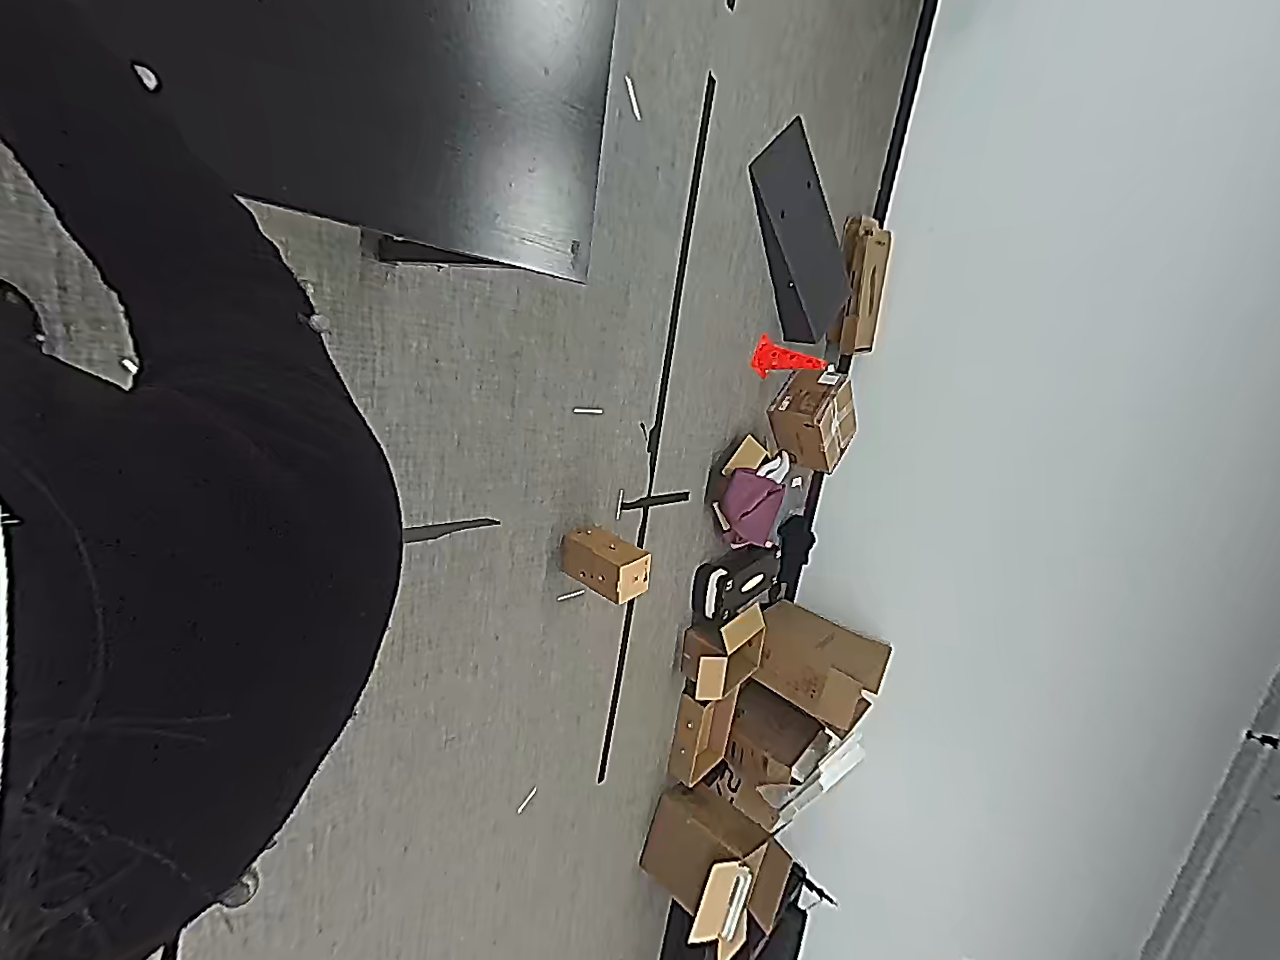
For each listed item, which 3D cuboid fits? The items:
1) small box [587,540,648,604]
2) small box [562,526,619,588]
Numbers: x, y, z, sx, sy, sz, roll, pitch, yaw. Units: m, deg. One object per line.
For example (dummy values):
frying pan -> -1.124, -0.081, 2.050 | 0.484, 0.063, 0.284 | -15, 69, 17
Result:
small box -> -0.091, 0.354, 2.109 | 0.179, 0.176, 0.168 | -16, 118, -45
small box -> -0.207, 0.311, 2.217 | 0.168, 0.176, 0.179 | -15, 117, -47
